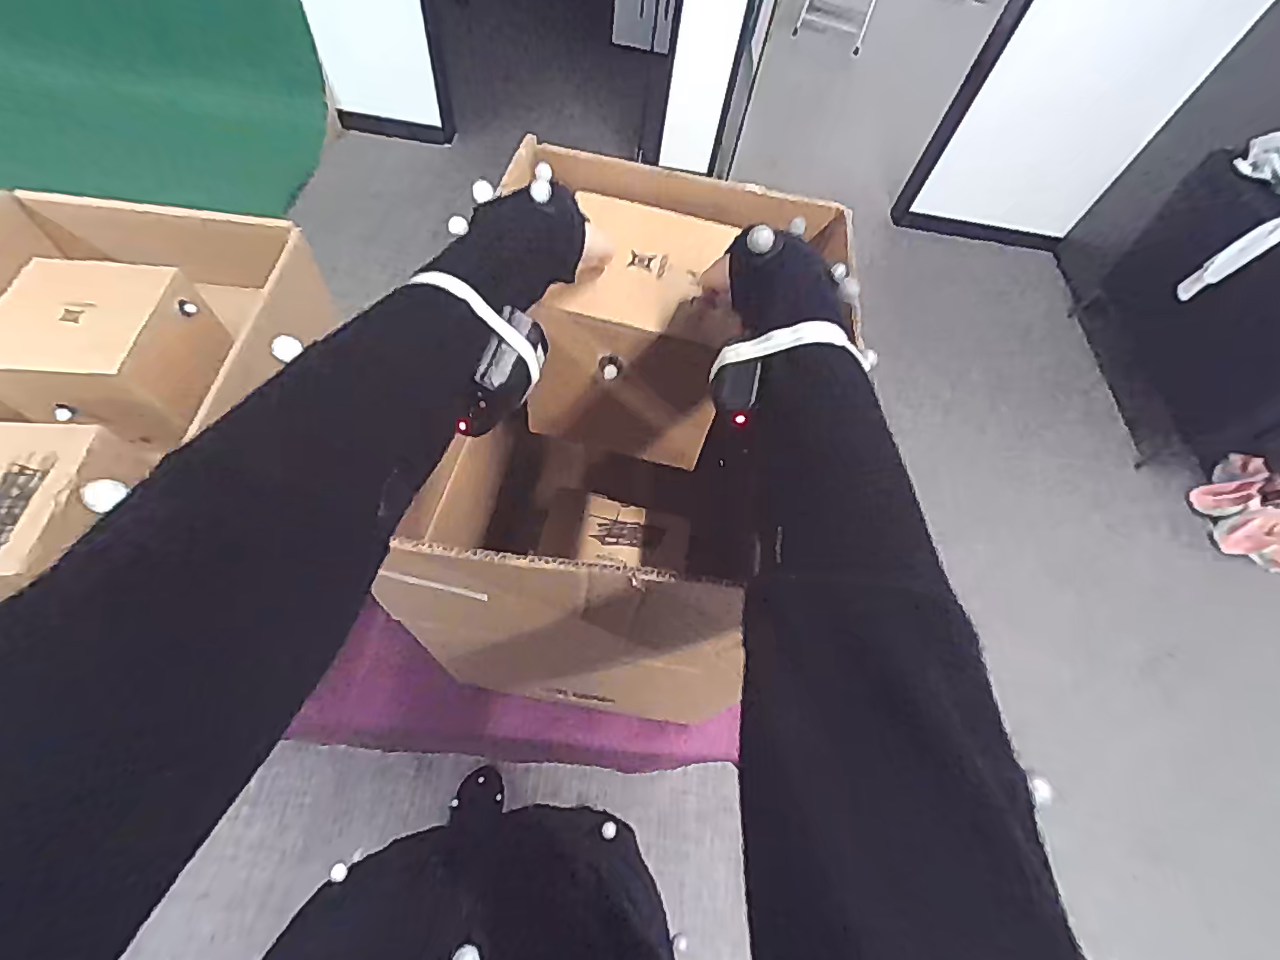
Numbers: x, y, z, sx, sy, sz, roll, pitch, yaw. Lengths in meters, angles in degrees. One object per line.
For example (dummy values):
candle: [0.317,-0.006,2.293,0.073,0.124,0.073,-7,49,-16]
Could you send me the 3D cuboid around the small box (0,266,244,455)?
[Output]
small box: [-0.660,-0.146,0.699,0.168,0.176,0.179,2,59,-5]
